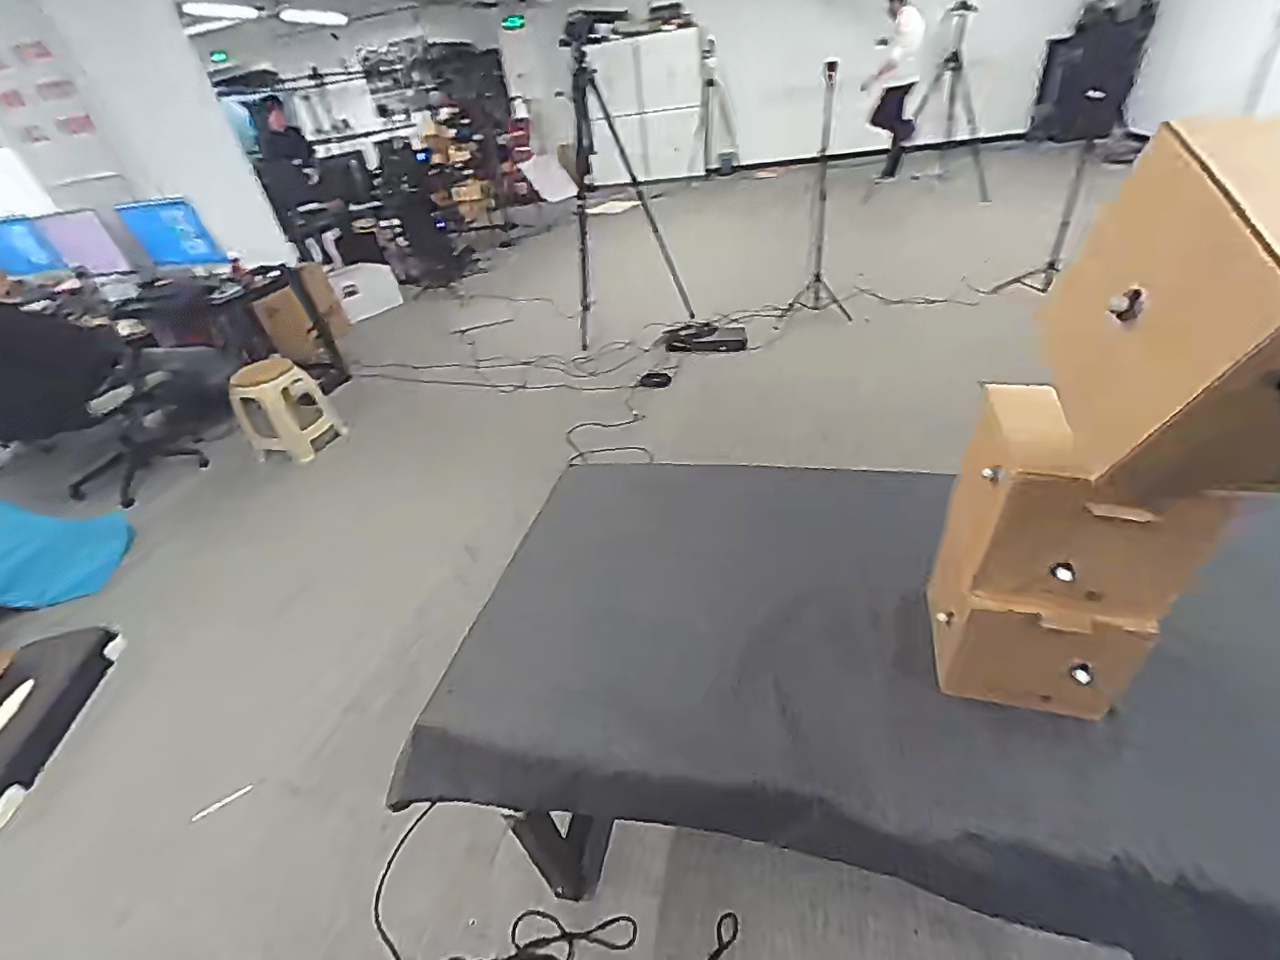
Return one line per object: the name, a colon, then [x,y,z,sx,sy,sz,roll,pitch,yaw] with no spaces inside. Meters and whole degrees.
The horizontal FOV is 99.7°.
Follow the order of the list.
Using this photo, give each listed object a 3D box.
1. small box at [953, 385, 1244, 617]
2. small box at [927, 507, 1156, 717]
small box: [0.450,0.017,0.575,0.168,0.176,0.179,6,39,18]
small box: [0.462,0.157,0.659,0.168,0.176,0.179,5,37,17]
